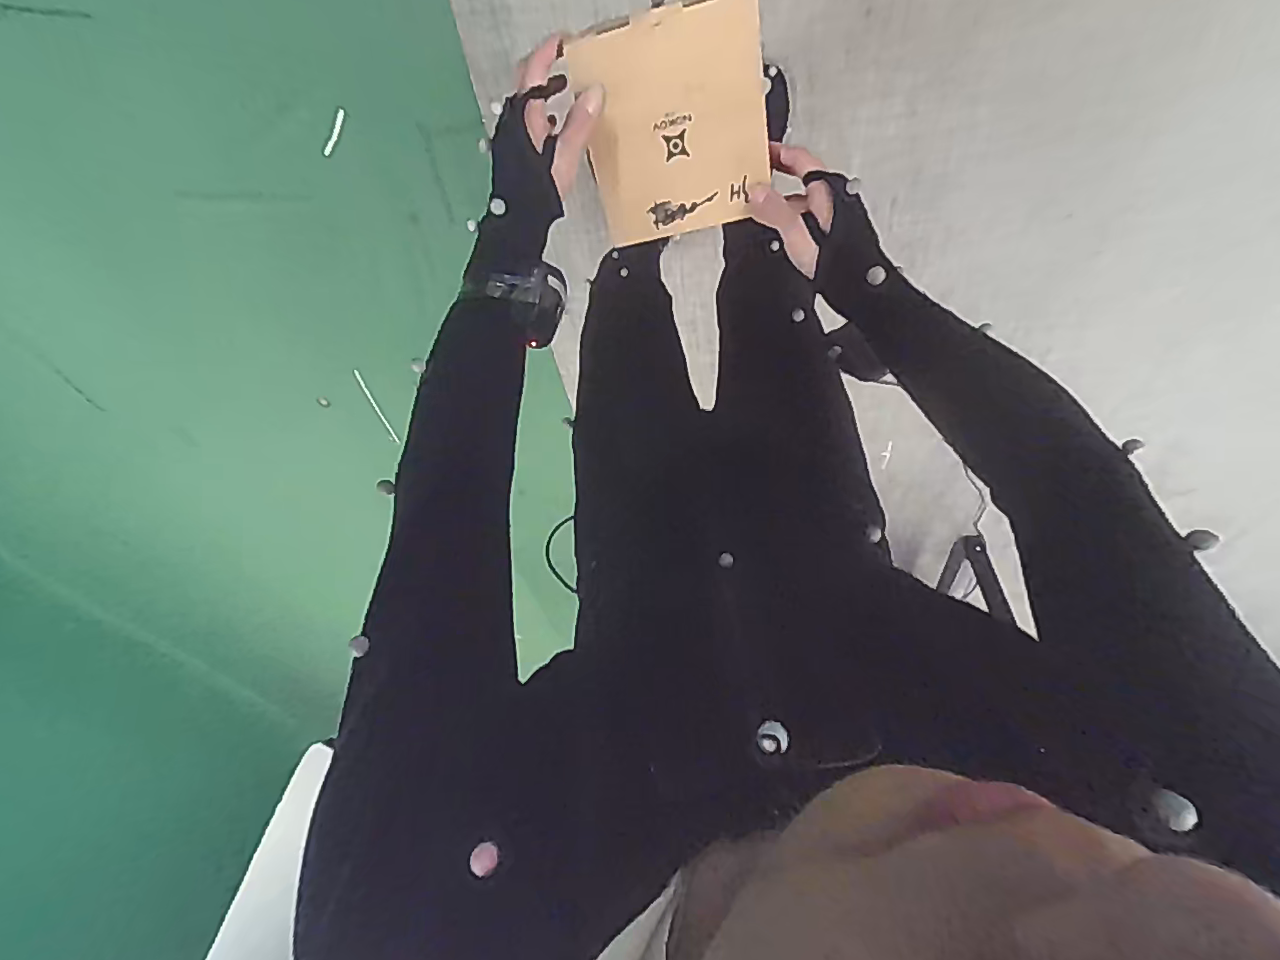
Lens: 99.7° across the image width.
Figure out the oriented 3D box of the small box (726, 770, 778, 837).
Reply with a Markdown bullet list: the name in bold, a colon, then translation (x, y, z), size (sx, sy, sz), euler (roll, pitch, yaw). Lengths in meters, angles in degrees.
- **small box**: translation (0.384, 1.118, 1.870), size (0.168, 0.176, 0.179), euler (-2, 138, 10)

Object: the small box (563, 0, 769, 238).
- **small box**: translation (0.034, -0.372, 0.545), size (0.168, 0.176, 0.179), euler (-6, 131, 11)
